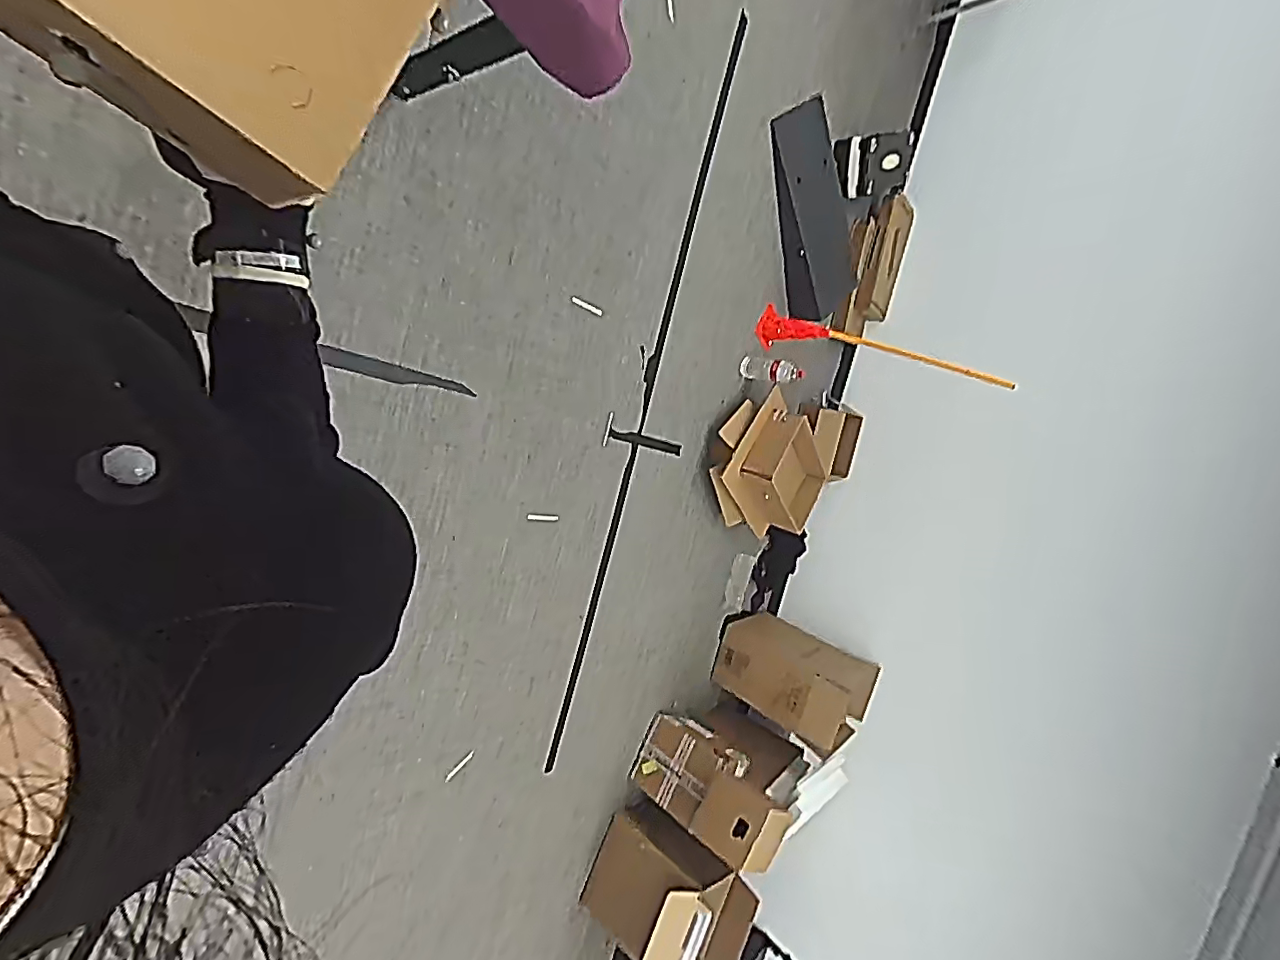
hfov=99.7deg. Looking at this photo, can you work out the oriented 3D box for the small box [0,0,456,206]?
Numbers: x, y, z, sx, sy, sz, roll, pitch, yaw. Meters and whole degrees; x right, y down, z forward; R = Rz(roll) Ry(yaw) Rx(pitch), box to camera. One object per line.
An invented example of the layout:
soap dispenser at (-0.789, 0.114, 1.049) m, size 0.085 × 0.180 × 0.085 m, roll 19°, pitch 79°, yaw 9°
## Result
small box at (-0.227, -0.282, 0.302) m, size 0.168 × 0.176 × 0.179 m, roll 31°, pitch 84°, yaw -46°
